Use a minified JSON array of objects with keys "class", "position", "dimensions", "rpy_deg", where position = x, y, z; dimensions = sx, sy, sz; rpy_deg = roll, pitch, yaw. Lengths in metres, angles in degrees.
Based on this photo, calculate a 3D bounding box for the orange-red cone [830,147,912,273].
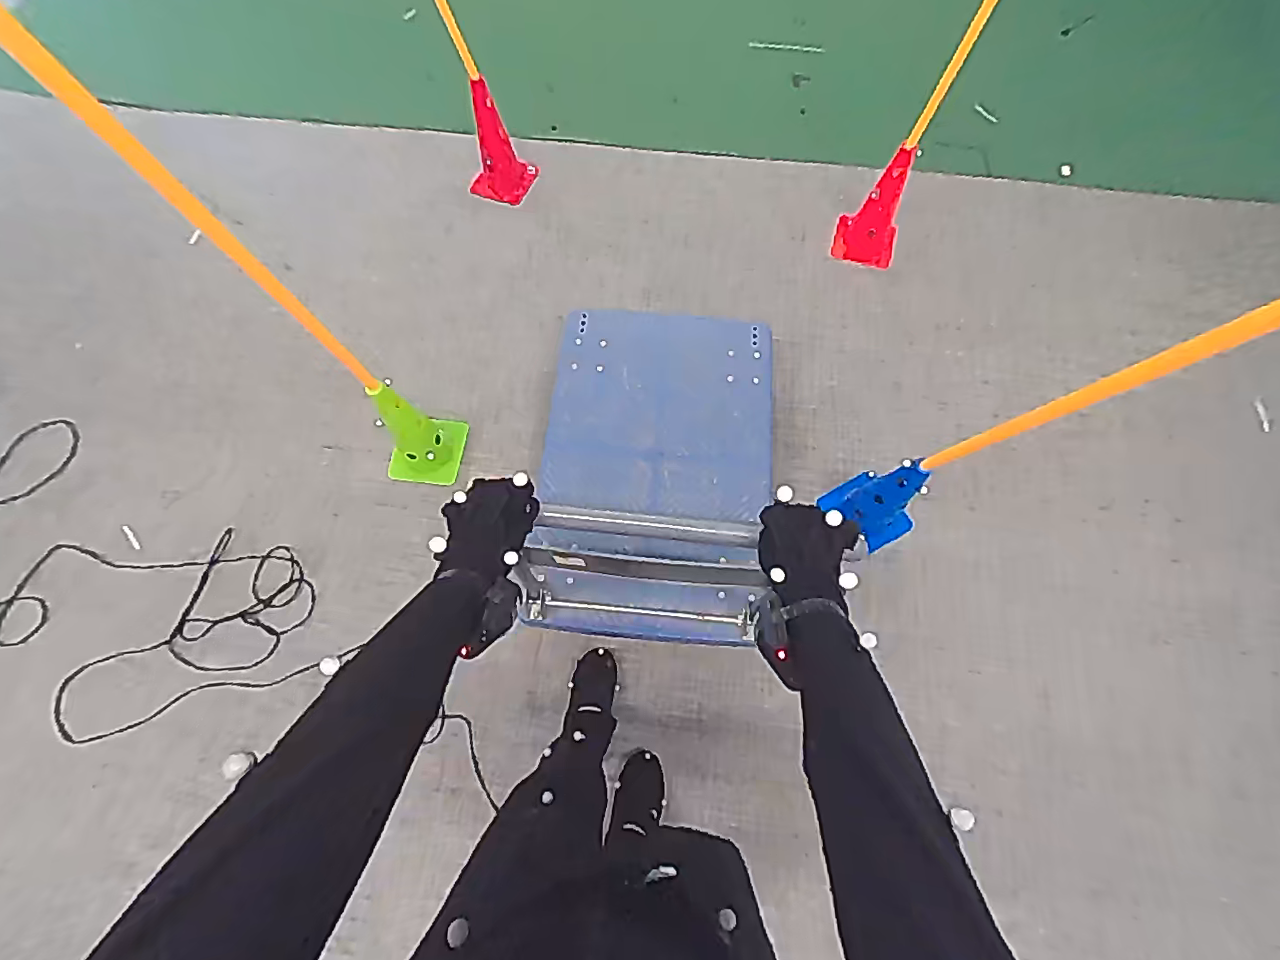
[{"class":"orange-red cone","position":[0.753,-0.856,1.679],"dimensions":[0.198,0.360,0.199],"rpy_deg":[17,70,9]}]
